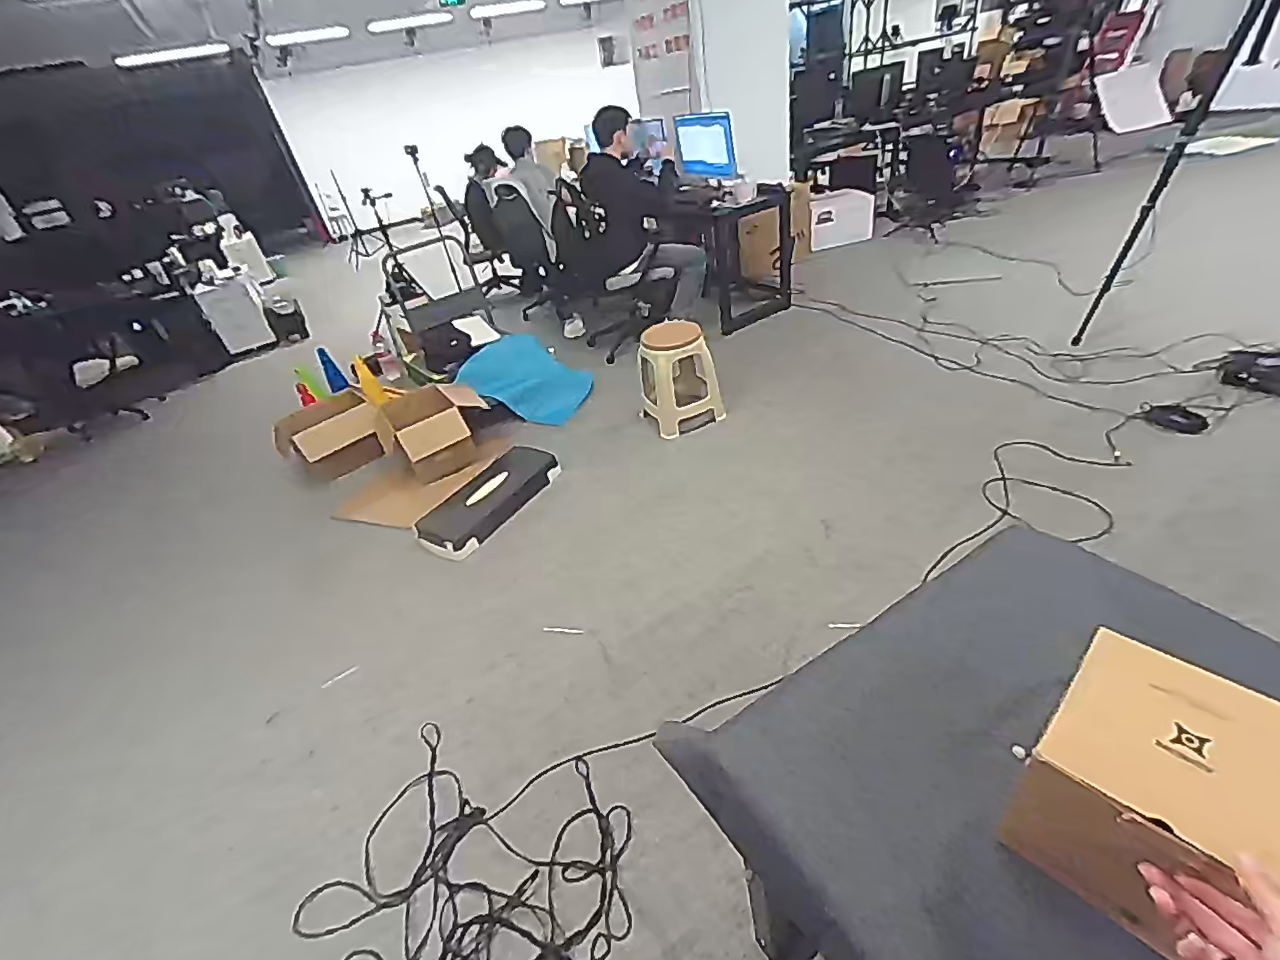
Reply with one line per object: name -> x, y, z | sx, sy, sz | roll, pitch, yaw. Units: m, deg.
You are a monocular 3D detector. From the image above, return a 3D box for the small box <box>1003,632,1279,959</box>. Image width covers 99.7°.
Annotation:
small box -> 0.459, 0.284, 0.488 | 0.179, 0.176, 0.168 | -33, 41, -30
